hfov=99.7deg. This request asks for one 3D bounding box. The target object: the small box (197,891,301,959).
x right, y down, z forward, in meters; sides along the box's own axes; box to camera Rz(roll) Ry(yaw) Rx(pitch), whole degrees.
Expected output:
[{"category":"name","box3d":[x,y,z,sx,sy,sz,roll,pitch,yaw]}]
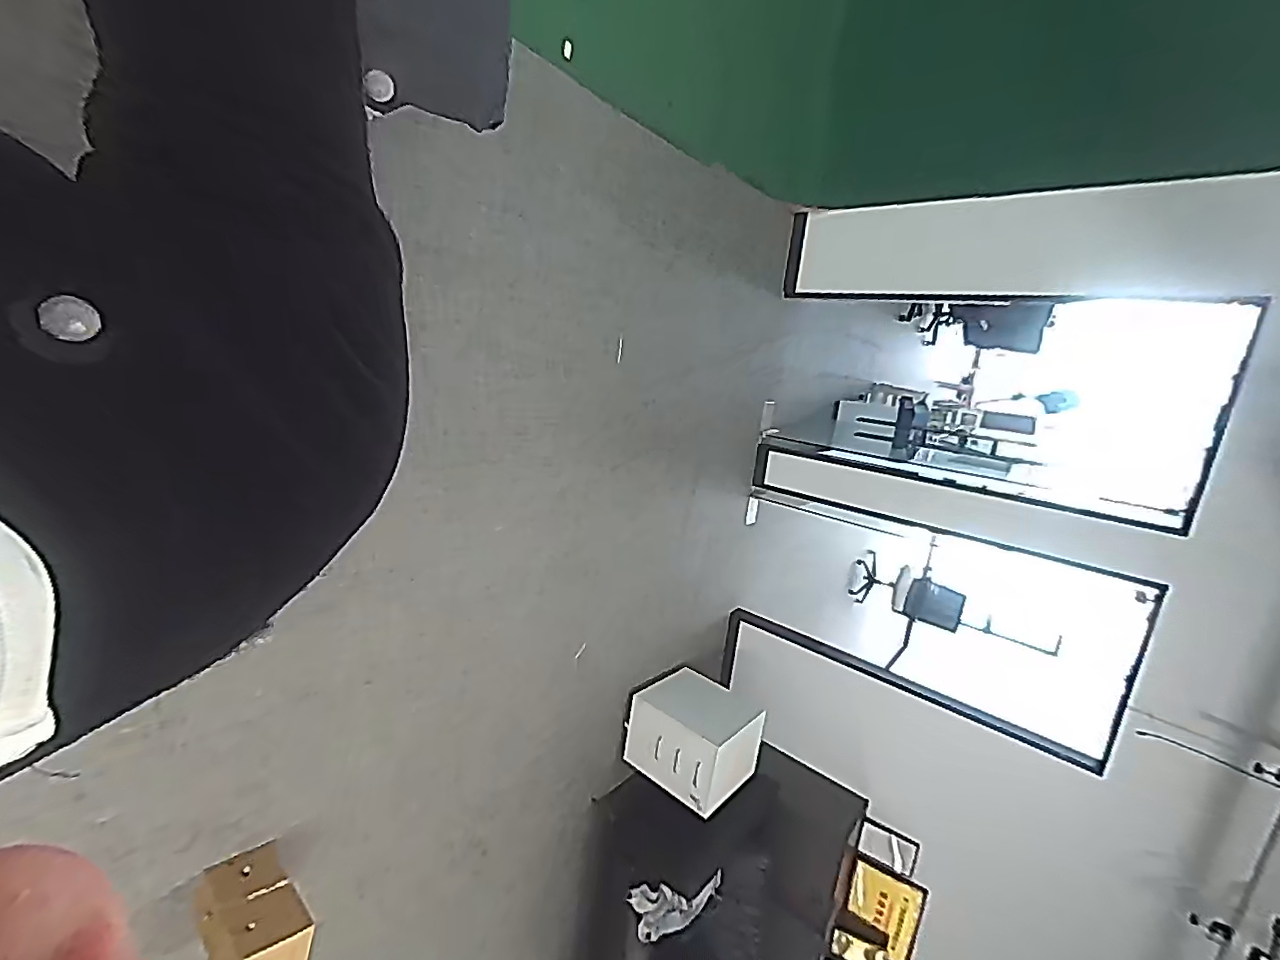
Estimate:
[{"category":"small box","box3d":[-1.027,1.235,1.406,0.179,0.176,0.168,12,95,-54]}]

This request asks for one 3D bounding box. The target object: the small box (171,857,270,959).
[{"category":"small box","box3d":[-1.145,1.206,1.503,0.179,0.176,0.168,-37,132,-40]}]
